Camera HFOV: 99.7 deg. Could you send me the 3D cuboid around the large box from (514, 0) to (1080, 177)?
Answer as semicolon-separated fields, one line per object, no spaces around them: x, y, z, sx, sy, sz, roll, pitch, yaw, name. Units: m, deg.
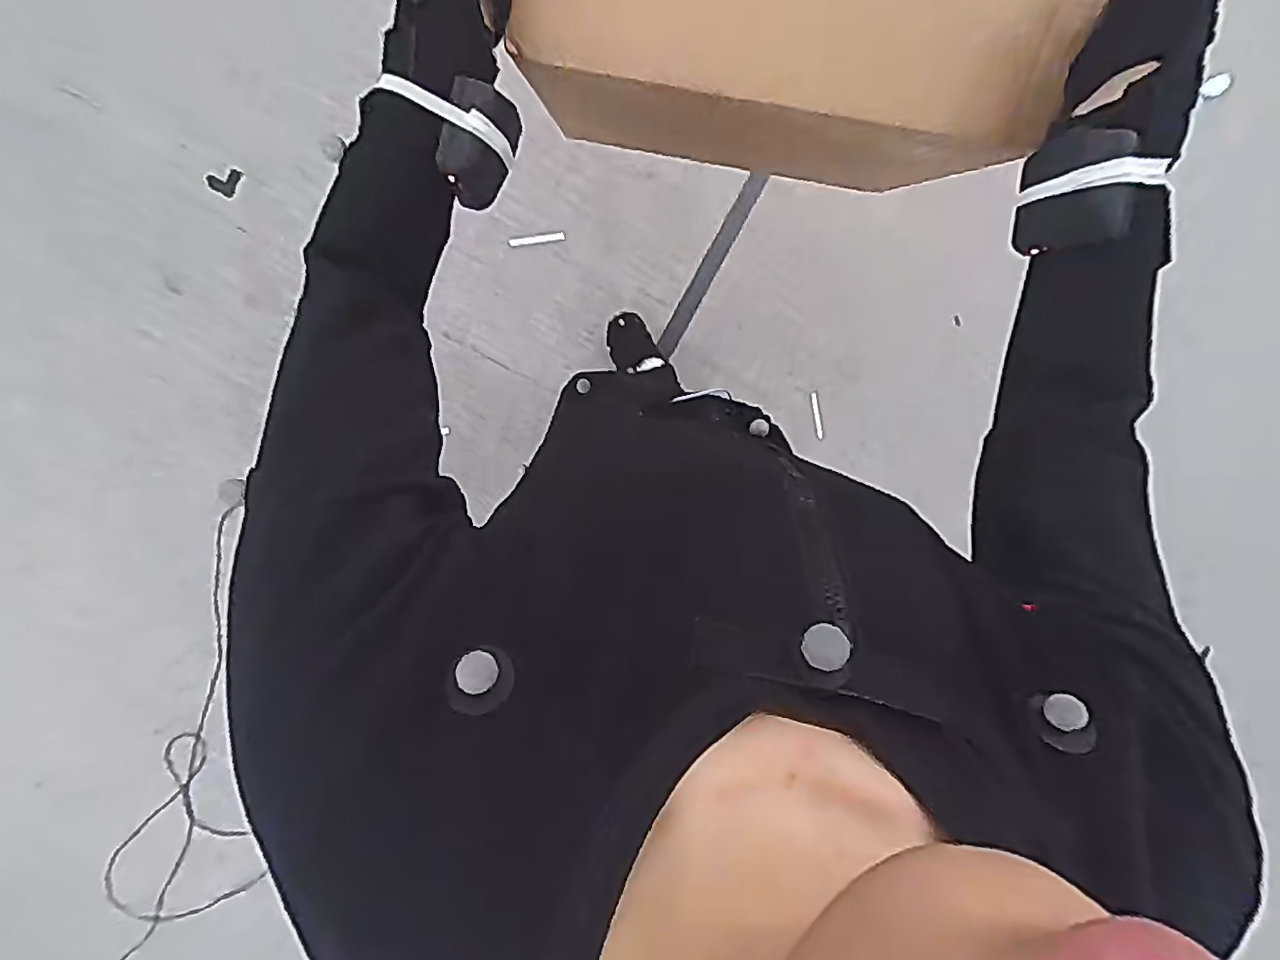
0.121;-0.485;0.477;0.408;0.320;0.320;7;114;-4;large box
